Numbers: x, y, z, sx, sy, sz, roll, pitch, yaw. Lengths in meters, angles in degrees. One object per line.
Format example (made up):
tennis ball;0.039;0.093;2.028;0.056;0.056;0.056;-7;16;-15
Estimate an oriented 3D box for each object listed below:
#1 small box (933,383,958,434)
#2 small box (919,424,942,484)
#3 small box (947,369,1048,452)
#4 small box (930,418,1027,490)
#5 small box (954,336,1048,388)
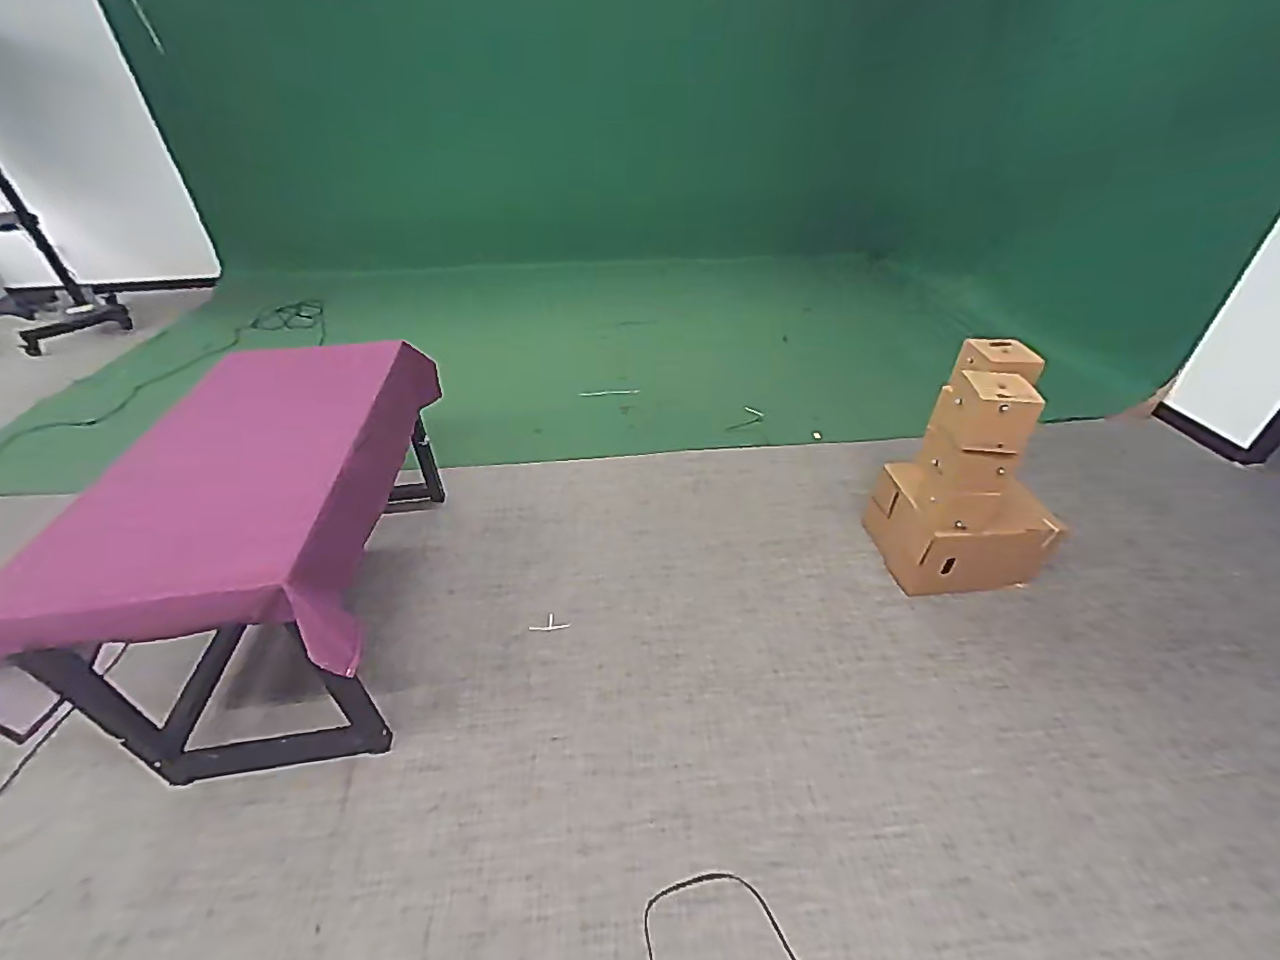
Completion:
small box;1.145;-0.220;1.850;0.179;0.176;0.168;-3;38;-3
small box;1.145;-0.089;1.947;0.168;0.176;0.179;-2;38;-6
small box;1.015;-0.203;1.556;0.168;0.176;0.179;5;37;7
small box;1.032;-0.081;1.667;0.179;0.176;0.168;2;38;3
small box;1.156;-0.351;1.749;0.168;0.176;0.179;0;38;1
